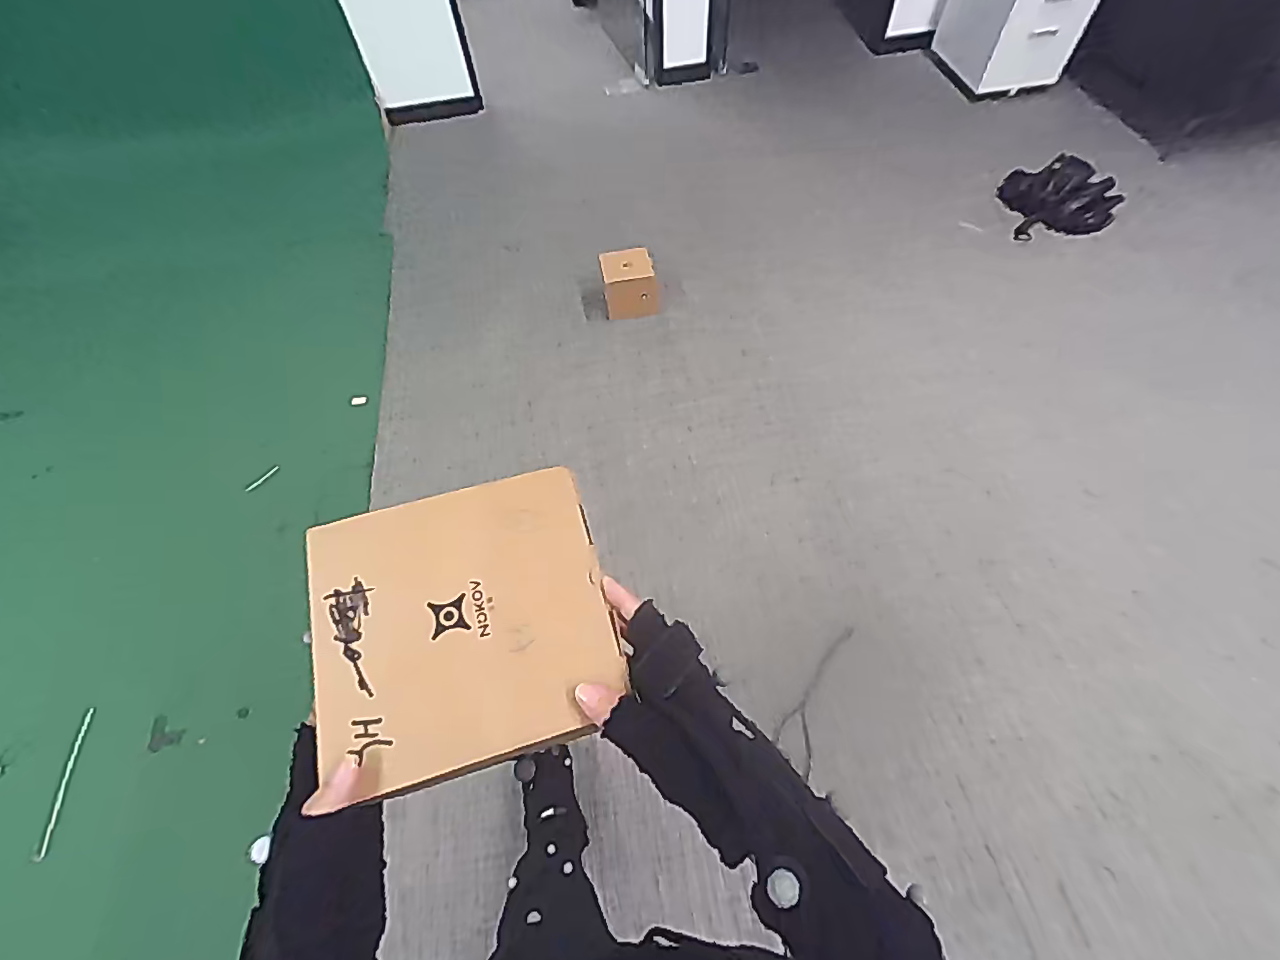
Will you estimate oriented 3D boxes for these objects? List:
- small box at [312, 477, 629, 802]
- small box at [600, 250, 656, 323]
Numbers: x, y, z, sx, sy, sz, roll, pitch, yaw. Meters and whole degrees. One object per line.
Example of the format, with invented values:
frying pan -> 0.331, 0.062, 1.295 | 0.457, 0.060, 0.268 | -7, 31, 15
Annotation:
small box -> -0.116, 0.120, 0.409 | 0.179, 0.176, 0.168 | -13, 65, -10
small box -> -0.040, -0.692, 1.944 | 0.179, 0.176, 0.168 | -11, 58, -2
